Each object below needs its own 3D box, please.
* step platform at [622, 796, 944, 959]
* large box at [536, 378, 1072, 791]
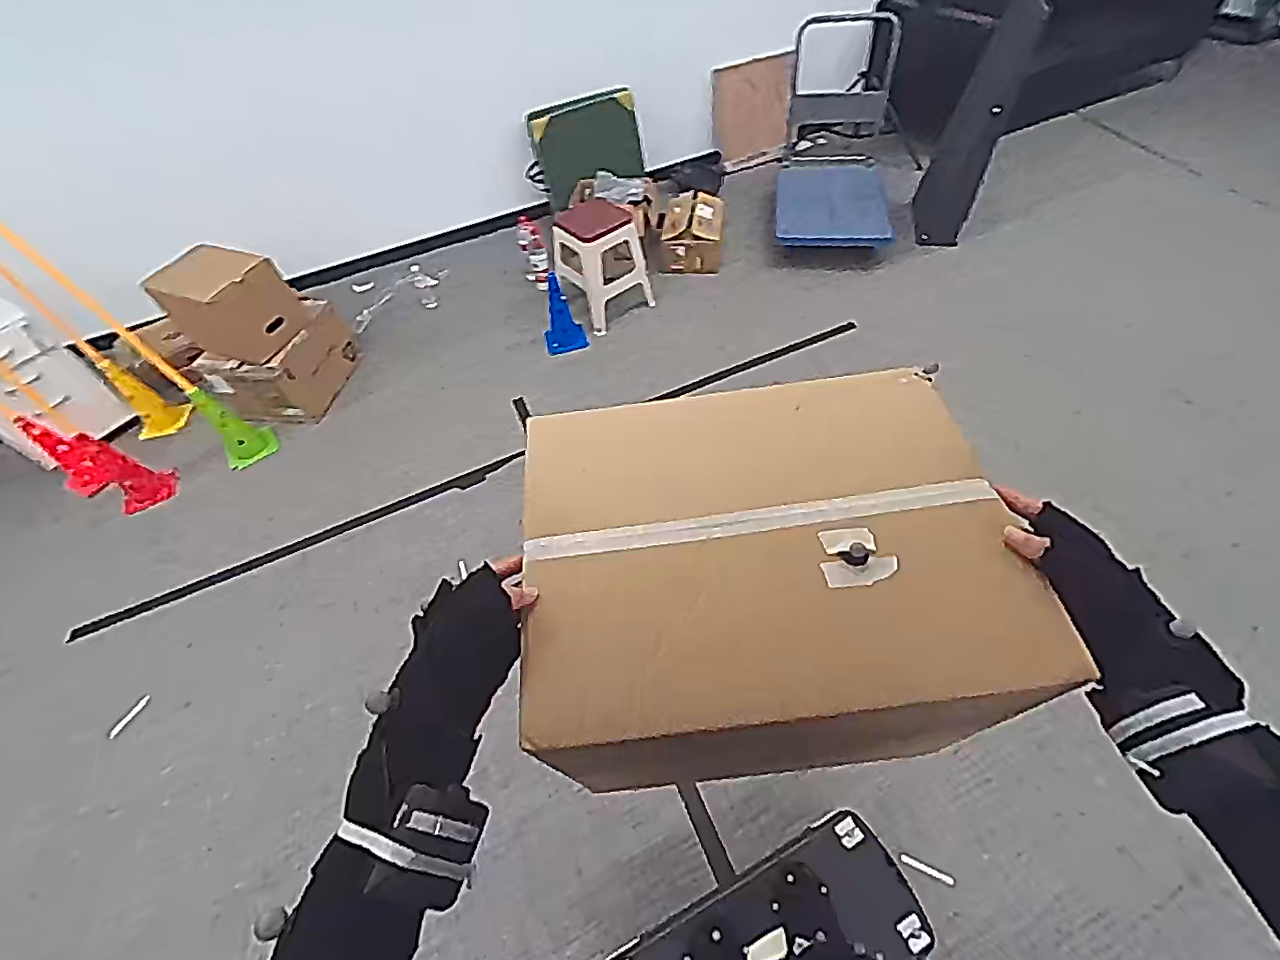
[{"bbox_3d":[0.304,0.999,1.180,0.684,0.204,0.286,-25,53,-13],"label":"step platform"},{"bbox_3d":[0.115,0.128,0.599,0.408,0.320,0.320,-7,55,0],"label":"large box"}]
